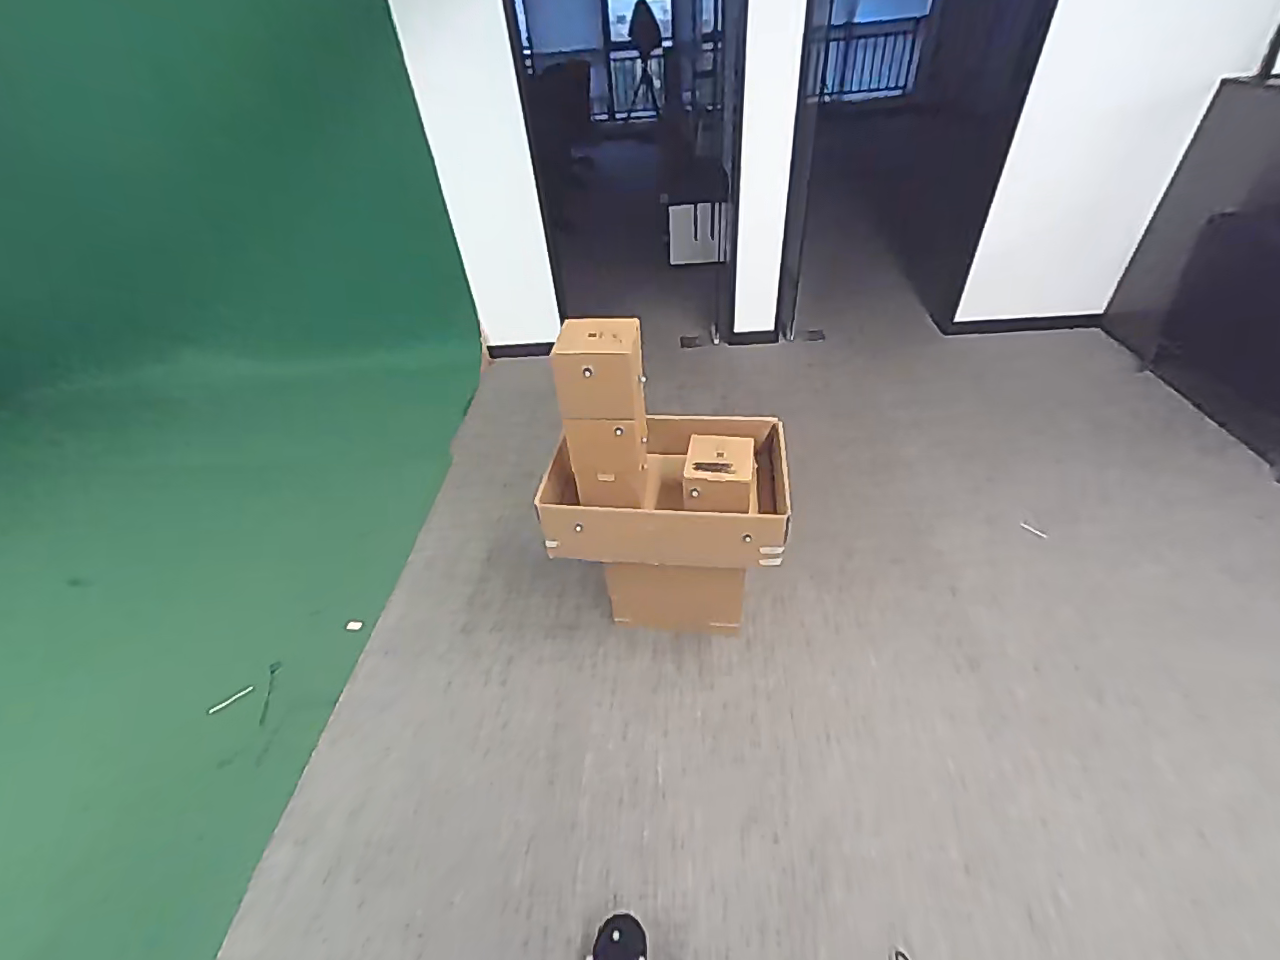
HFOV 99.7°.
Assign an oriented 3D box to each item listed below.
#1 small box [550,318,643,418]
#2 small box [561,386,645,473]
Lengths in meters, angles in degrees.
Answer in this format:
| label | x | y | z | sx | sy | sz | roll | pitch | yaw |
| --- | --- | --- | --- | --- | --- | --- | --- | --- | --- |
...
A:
| label | x | y | z | sx | sy | sz | roll | pitch | yaw |
| --- | --- | --- | --- | --- | --- | --- | --- | --- | --- |
| small box | -0.092 | -0.254 | 1.235 | 0.179 | 0.176 | 0.168 | 2 | 43 | 6 |
| small box | -0.085 | -0.133 | 1.346 | 0.179 | 0.176 | 0.168 | 3 | 42 | 6 |
